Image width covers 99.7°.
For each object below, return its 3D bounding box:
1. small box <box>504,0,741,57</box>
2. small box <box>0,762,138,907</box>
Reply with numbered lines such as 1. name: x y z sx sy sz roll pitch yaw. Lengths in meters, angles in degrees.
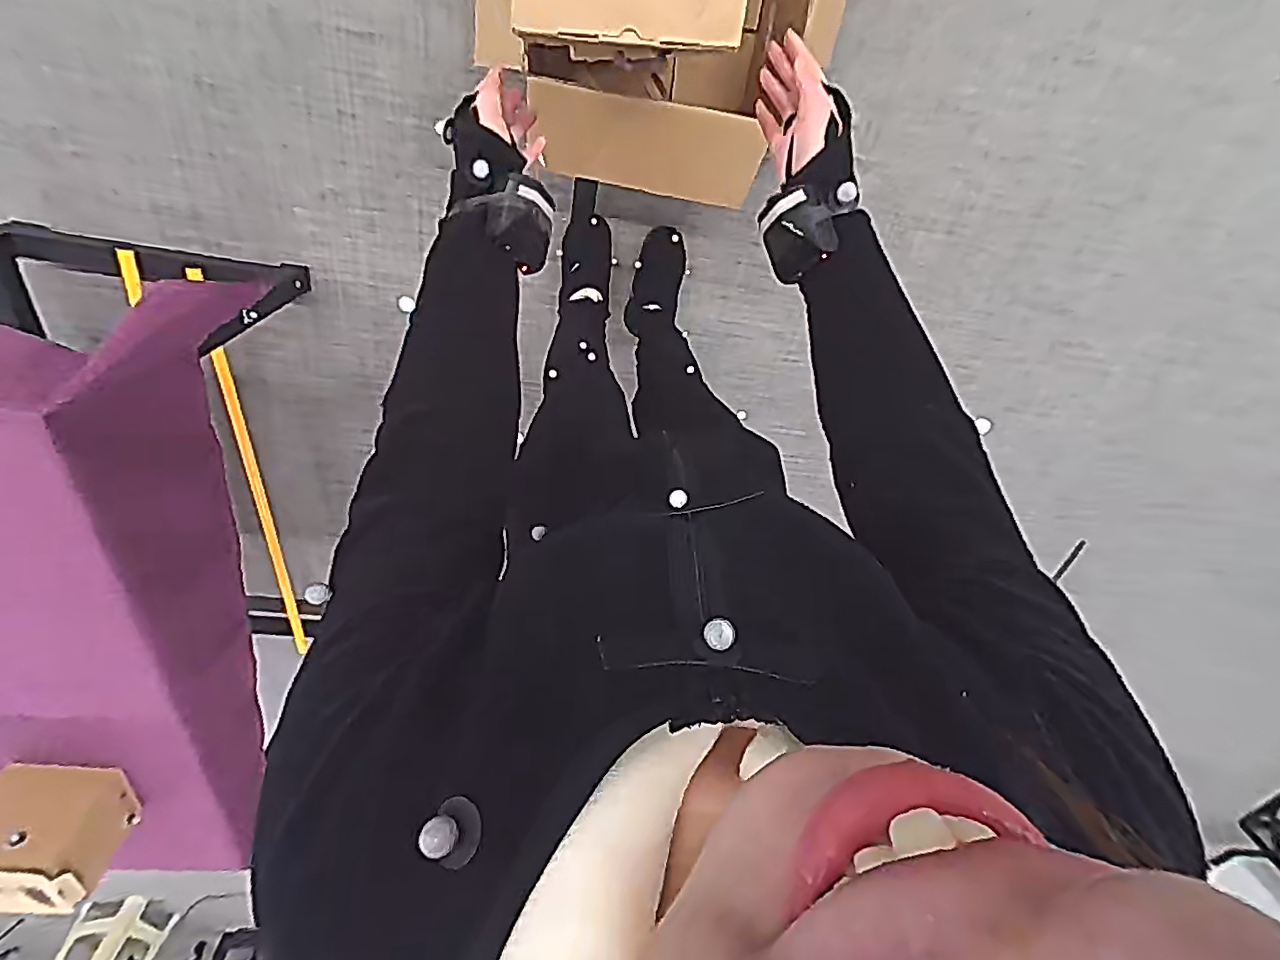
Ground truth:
1. small box: -0.013 -0.428 0.395 0.168 0.176 0.179 0 127 -9
2. small box: -1.050 0.625 0.959 0.179 0.176 0.168 9 123 -10
